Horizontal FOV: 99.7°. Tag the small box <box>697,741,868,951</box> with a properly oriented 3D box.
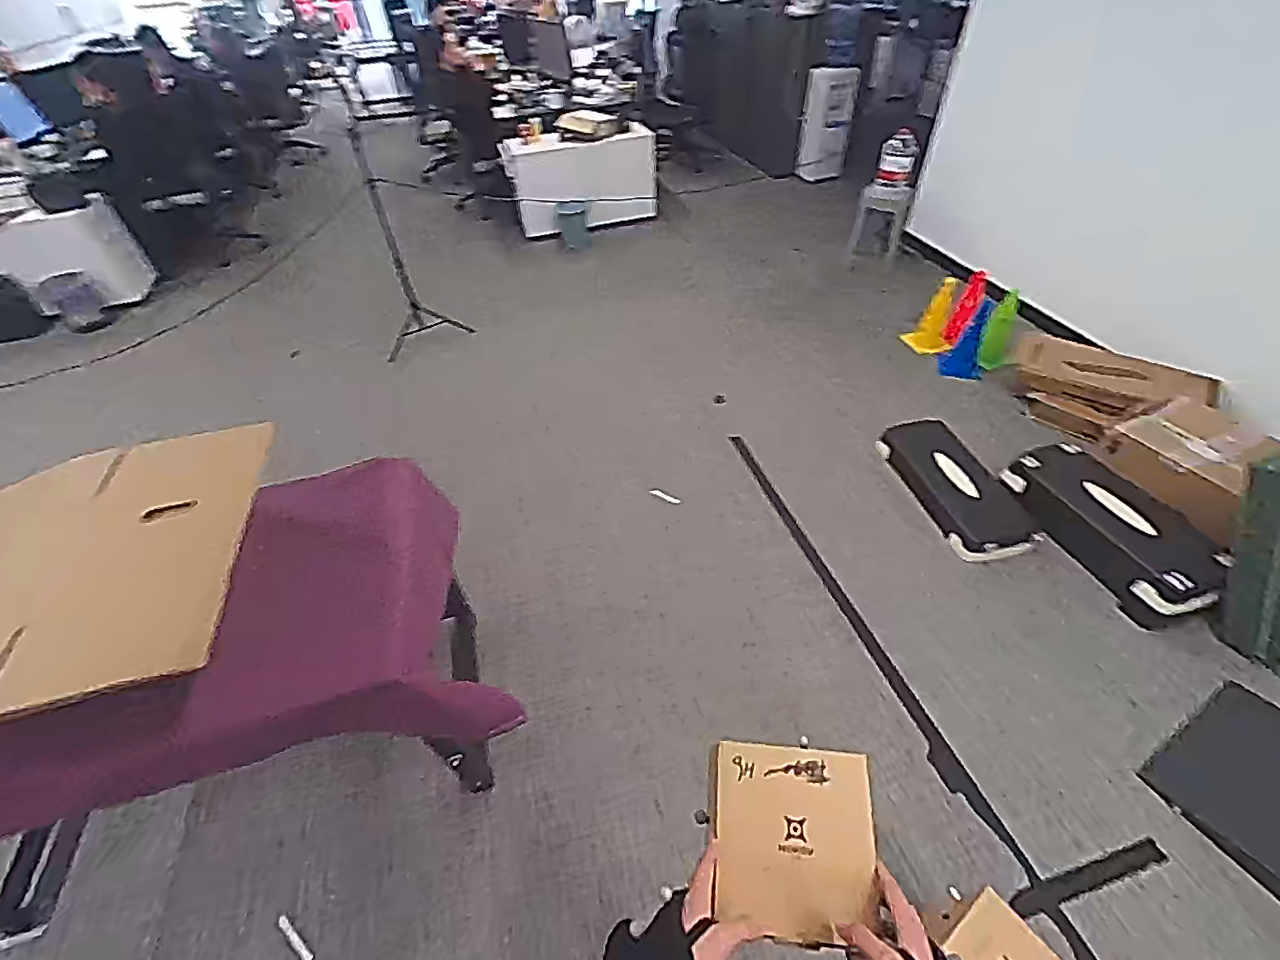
[{"bbox_3d":[0.156,0.417,0.646,0.168,0.176,0.179,3,63,4],"label":"small box"}]
